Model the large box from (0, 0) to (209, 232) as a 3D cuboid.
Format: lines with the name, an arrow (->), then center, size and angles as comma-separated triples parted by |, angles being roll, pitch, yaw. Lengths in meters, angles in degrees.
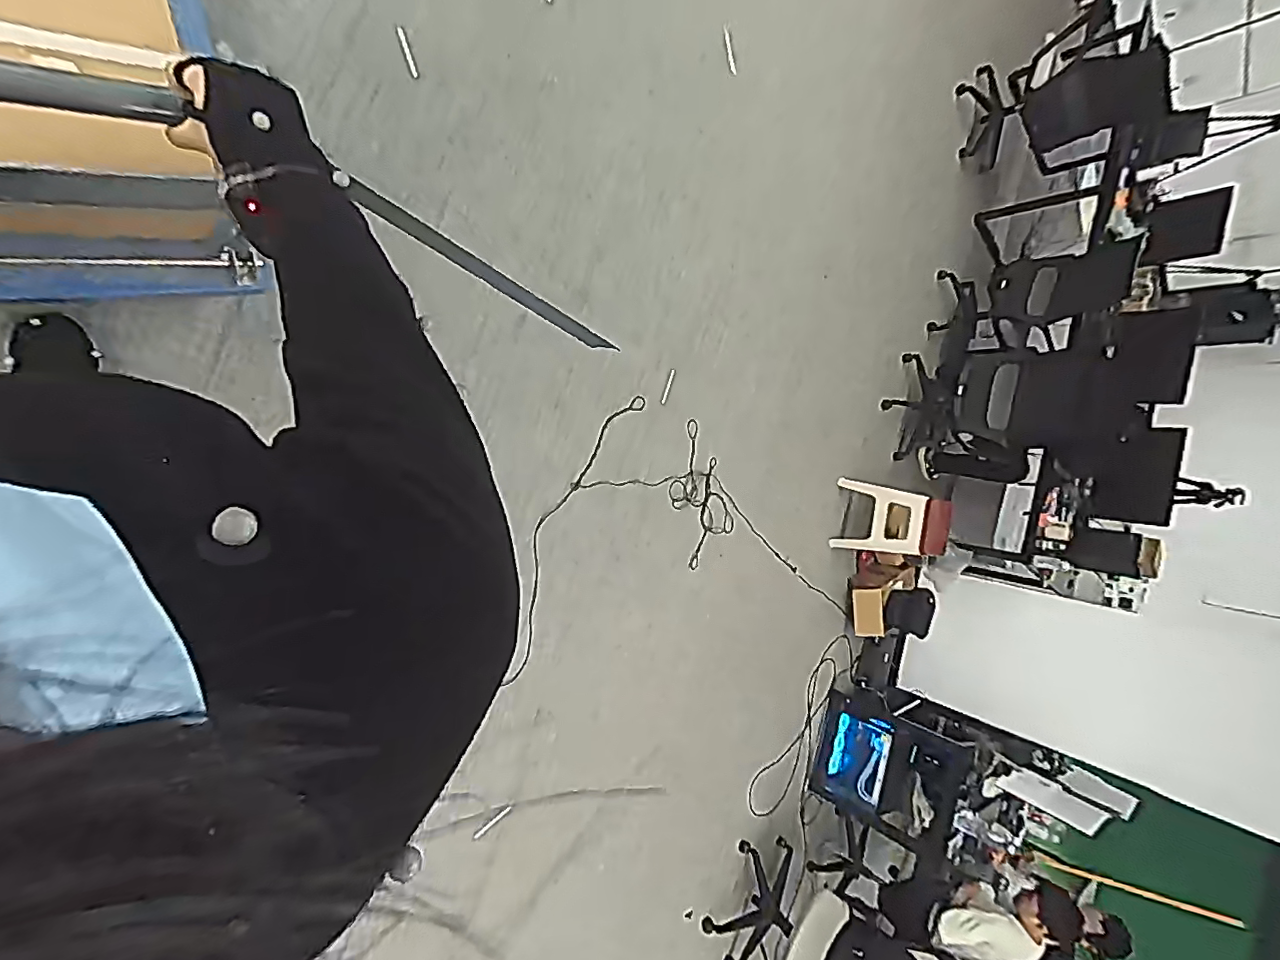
large box -> -0.890, -0.541, 0.733 | 0.408, 0.320, 0.320 | -18, 109, -40
